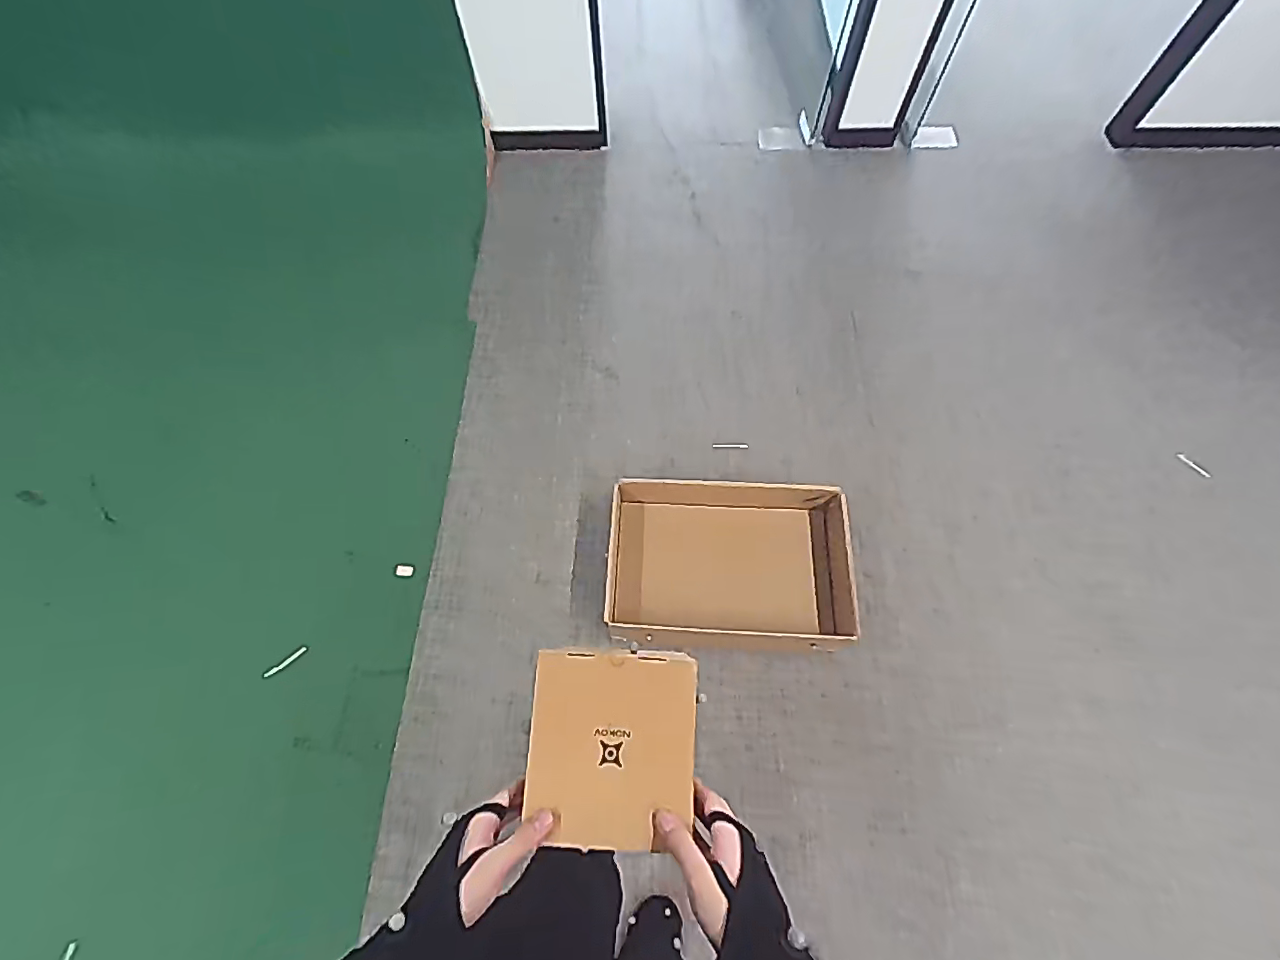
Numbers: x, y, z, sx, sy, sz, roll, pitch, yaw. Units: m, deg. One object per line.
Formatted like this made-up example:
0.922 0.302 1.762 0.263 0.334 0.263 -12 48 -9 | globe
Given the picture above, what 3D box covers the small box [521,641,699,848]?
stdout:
-0.023 0.278 0.606 0.168 0.176 0.179 3 73 3 | small box
